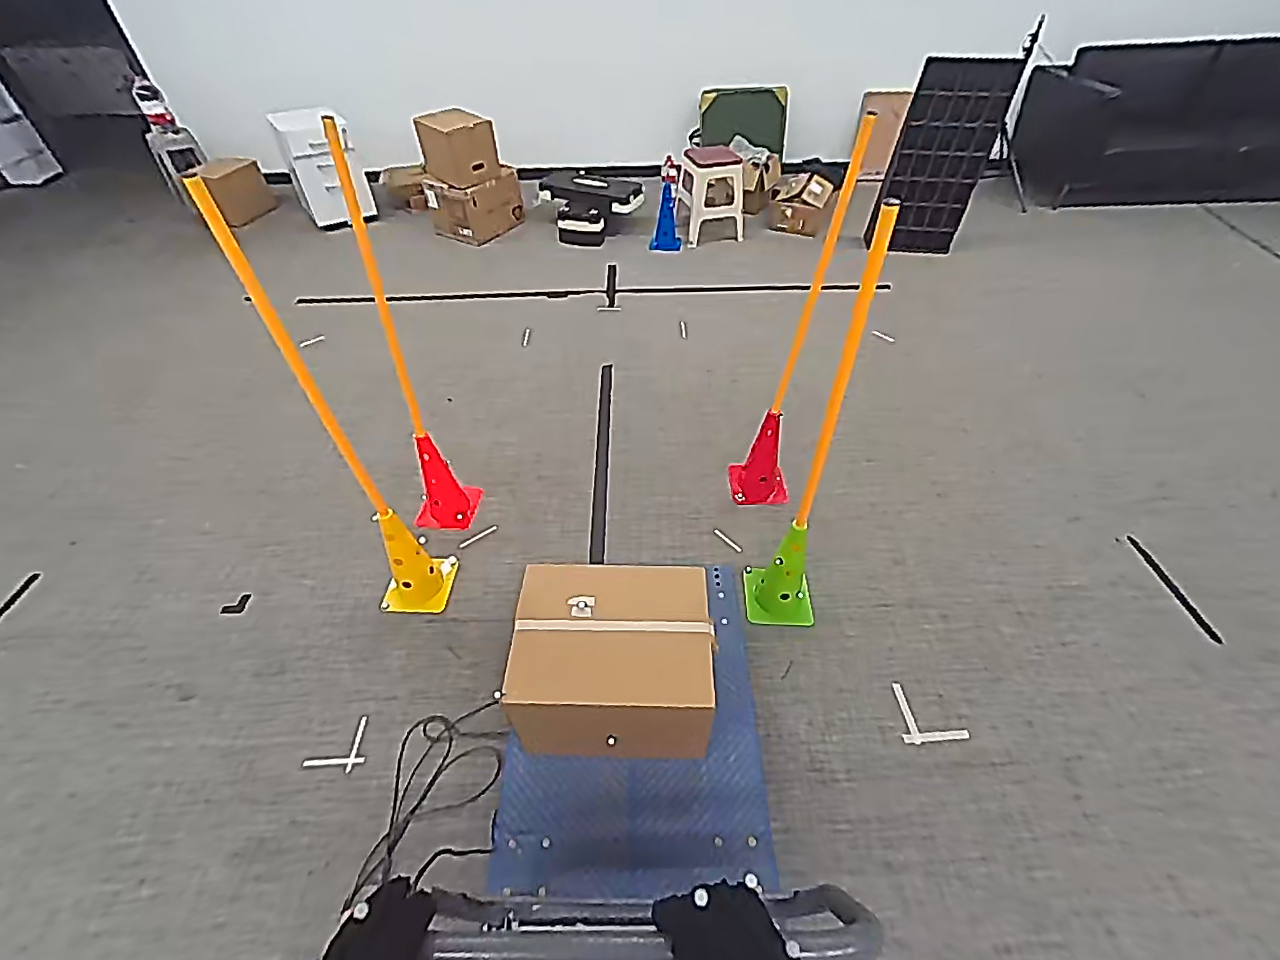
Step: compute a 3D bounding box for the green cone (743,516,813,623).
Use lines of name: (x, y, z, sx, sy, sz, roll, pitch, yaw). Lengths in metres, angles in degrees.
green cone: (0.433, 0.239, 1.580, 0.202, 0.368, 0.200, 2, 46, 1)

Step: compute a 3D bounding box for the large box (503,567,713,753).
large box: (-0.054, 0.411, 1.223, 0.408, 0.320, 0.320, 0, 46, 2)

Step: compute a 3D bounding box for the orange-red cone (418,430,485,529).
orange-red cone: (-0.684, -0.025, 1.849, 0.198, 0.360, 0.199, 5, 45, 4)

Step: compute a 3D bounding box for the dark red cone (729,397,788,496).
dark red cone: (0.445, -0.124, 1.902, 0.201, 0.394, 0.202, 0, 47, -2)
